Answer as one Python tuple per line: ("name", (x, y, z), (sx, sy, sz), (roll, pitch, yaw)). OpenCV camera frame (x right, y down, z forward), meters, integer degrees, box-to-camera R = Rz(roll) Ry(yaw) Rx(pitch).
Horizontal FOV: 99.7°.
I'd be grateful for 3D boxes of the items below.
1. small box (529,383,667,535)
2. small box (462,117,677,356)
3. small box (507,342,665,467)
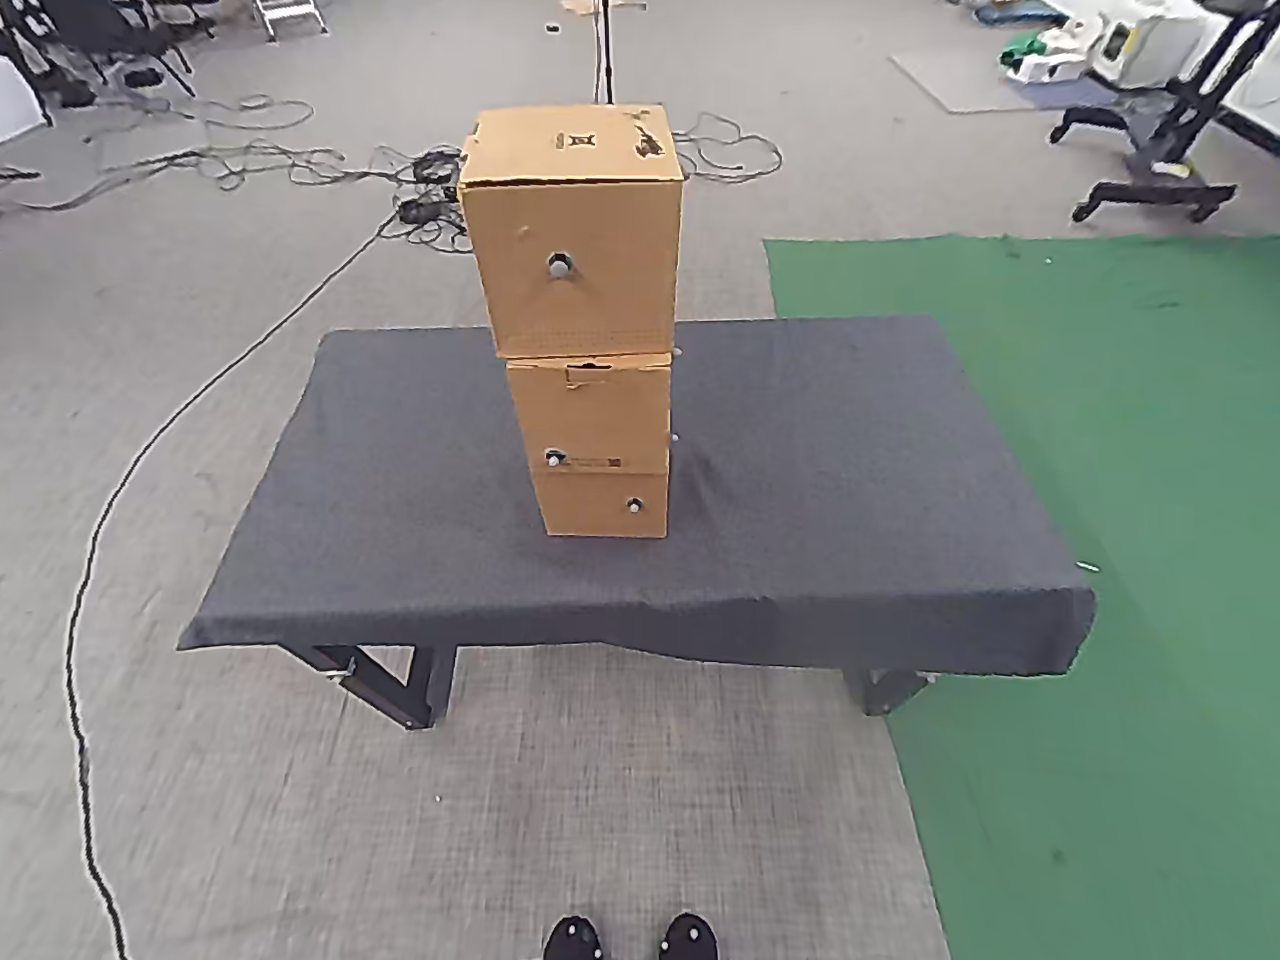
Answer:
("small box", (-0.050, -0.031, 0.790), (0.179, 0.176, 0.168), (0, 51, 2))
("small box", (-0.062, -0.239, 0.541), (0.179, 0.176, 0.168), (-5, 50, -4))
("small box", (-0.053, -0.127, 0.658), (0.168, 0.176, 0.179), (-1, 53, 0))
